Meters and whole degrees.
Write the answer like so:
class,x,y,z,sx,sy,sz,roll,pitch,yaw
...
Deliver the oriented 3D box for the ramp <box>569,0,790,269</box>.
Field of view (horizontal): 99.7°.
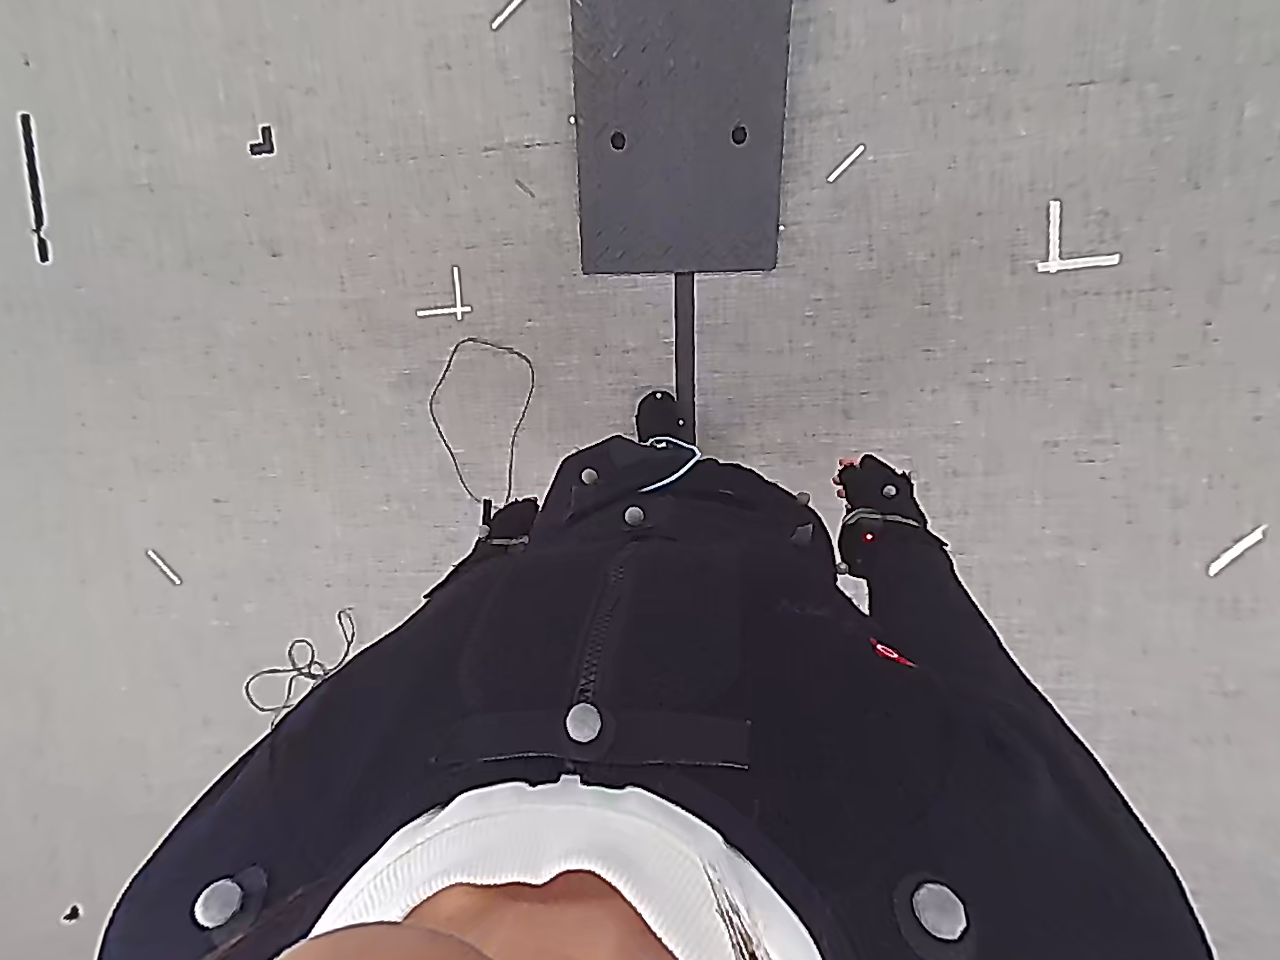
class,x,y,z,sx,sy,sz,roll,pitch,yaw
ramp,0.085,-1.012,1.207,0.509,0.206,0.991,-1,98,6
